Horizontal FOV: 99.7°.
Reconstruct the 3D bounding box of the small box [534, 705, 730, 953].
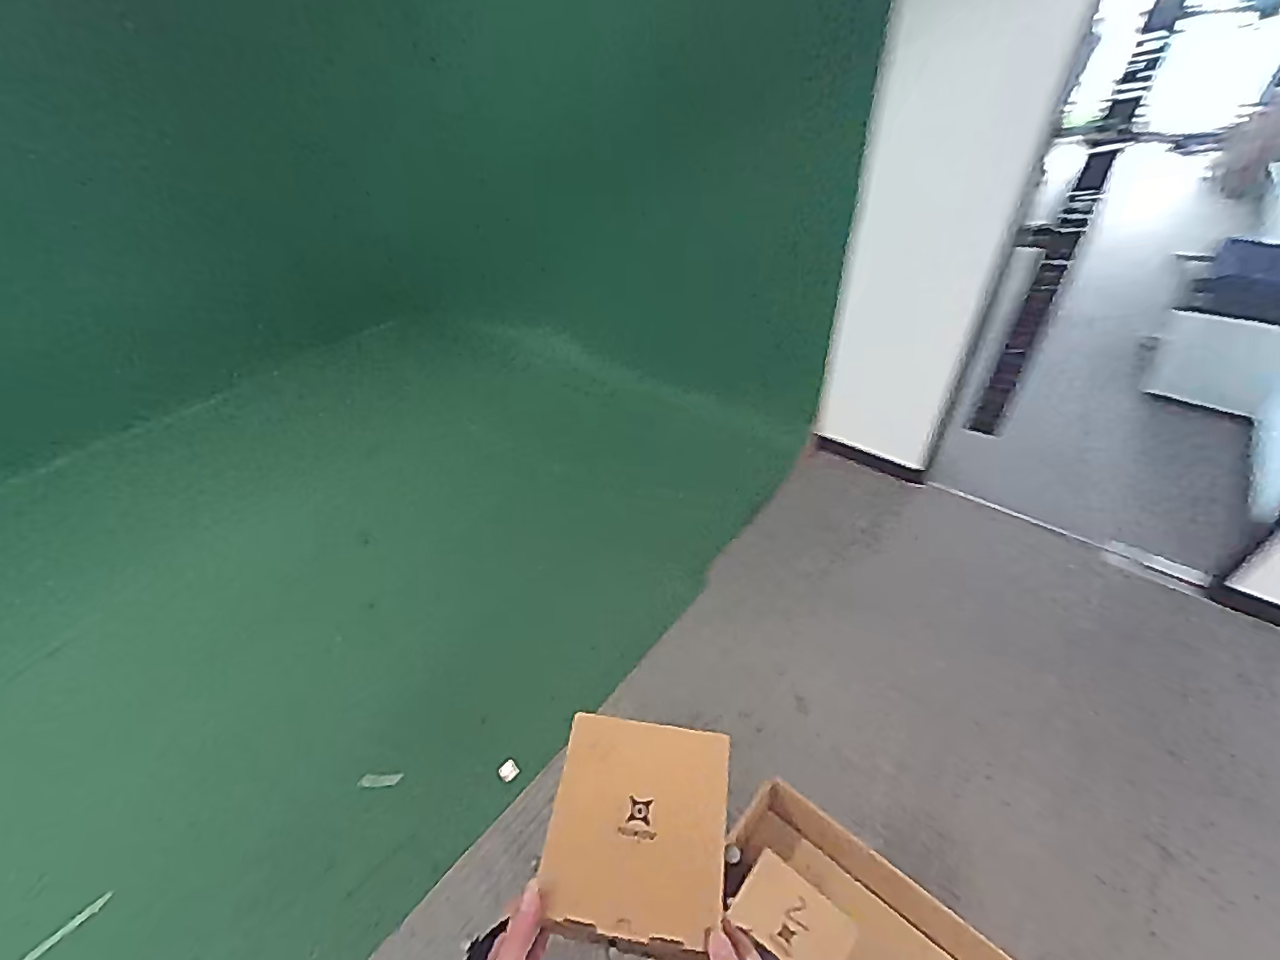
[{"bbox_3d":[-0.001,0.367,0.570,0.168,0.176,0.179,7,47,6],"label":"small box"}]
